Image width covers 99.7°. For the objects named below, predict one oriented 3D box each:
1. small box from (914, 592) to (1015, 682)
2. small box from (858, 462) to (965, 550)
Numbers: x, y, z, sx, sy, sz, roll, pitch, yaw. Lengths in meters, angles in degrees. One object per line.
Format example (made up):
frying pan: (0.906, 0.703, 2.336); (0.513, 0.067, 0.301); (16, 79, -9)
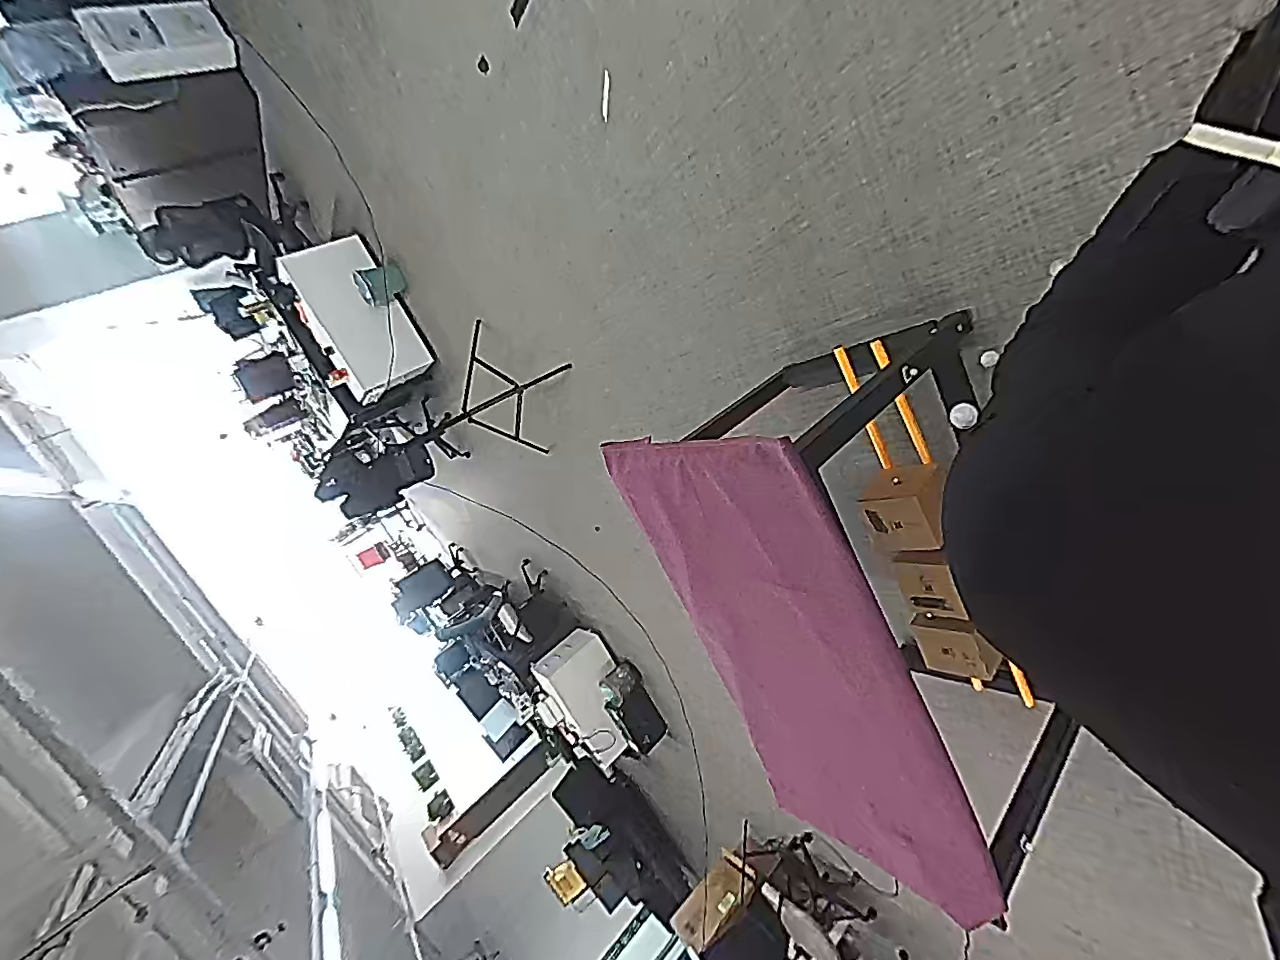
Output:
small box: (0.922, 0.435, 1.535); (0.179, 0.176, 0.168); (-9, 114, 55)
small box: (0.724, 0.070, 1.440); (0.179, 0.176, 0.168); (-12, 112, 56)
